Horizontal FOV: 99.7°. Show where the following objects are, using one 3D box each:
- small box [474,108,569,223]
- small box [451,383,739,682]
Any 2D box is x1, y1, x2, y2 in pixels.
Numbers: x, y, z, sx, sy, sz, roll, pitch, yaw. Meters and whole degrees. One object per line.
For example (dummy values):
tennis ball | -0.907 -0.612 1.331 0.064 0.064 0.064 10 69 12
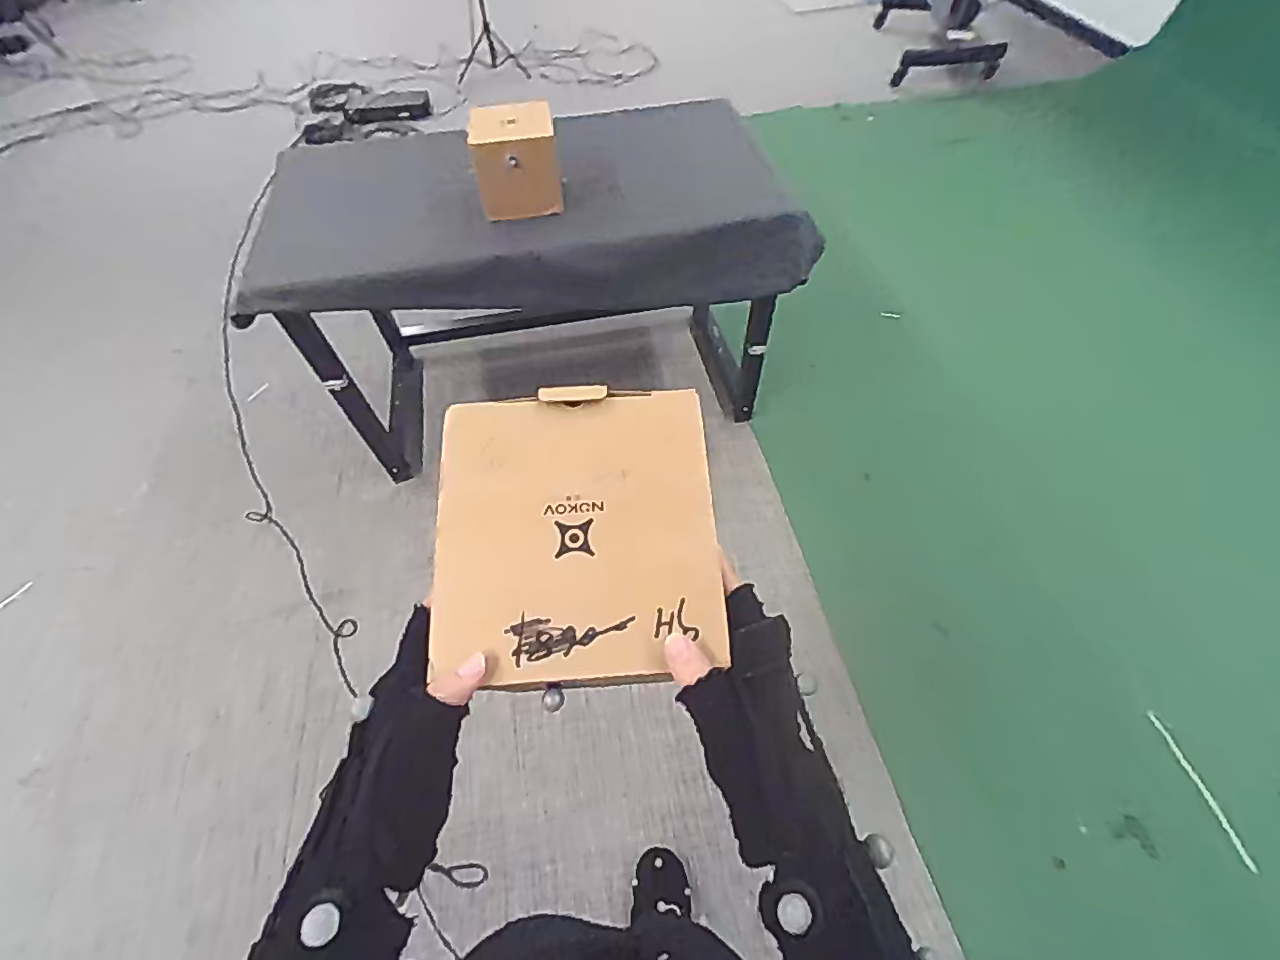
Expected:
small box | -0.262 -0.699 1.213 0.179 0.176 0.168 -9 56 -5
small box | -0.034 0.050 0.409 0.168 0.176 0.179 -6 69 -3
